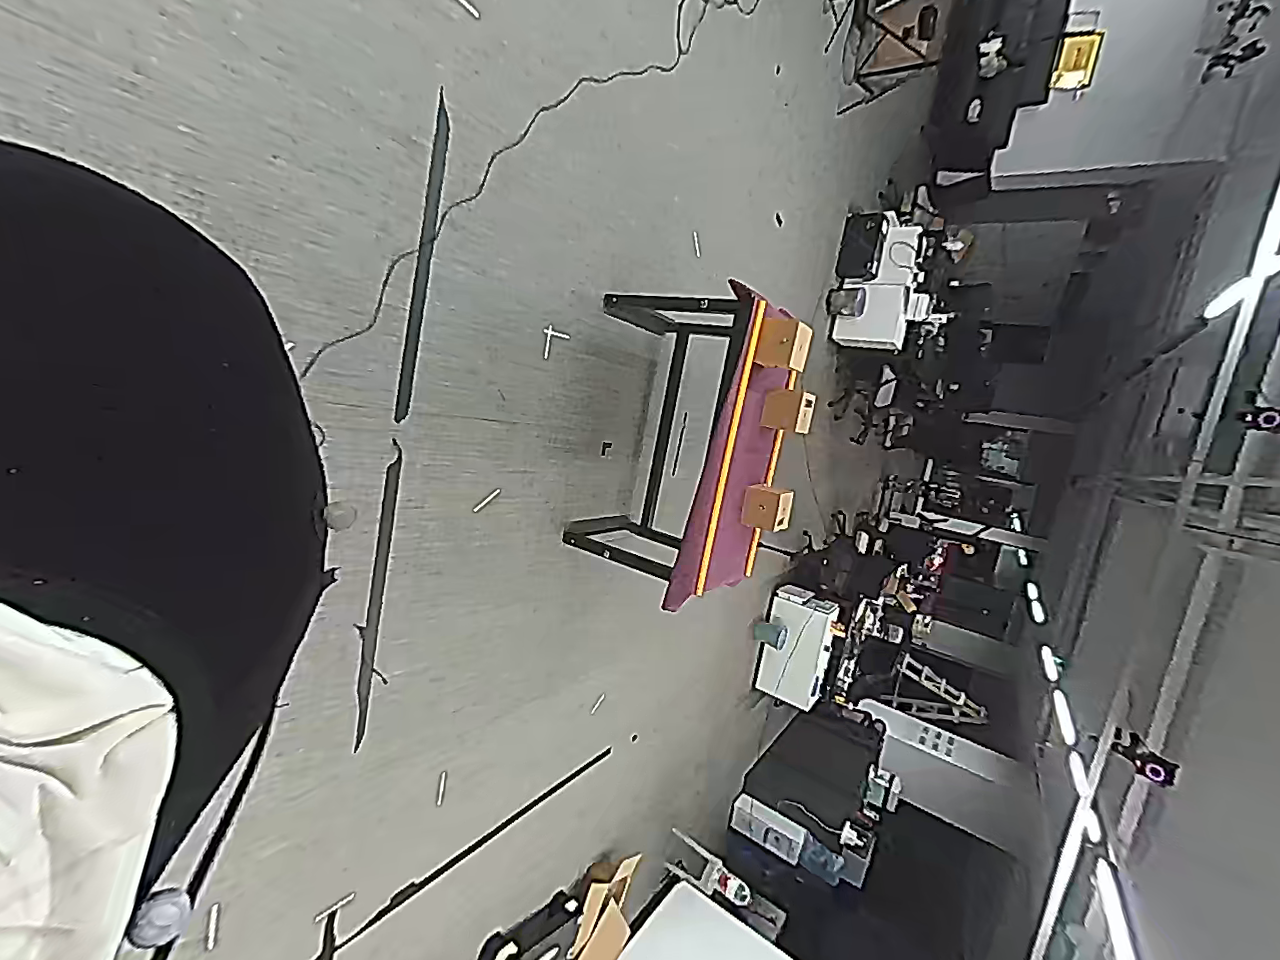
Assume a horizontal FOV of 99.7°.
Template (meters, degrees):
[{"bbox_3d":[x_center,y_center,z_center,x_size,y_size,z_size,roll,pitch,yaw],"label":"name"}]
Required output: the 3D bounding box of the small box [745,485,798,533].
[{"bbox_3d":[0.589,0.126,2.439,0.168,0.176,0.179,-4,105,-54],"label":"small box"}]

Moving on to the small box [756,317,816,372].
[{"bbox_3d":[0.578,-0.539,2.154,0.168,0.176,0.179,-3,106,-56],"label":"small box"}]
